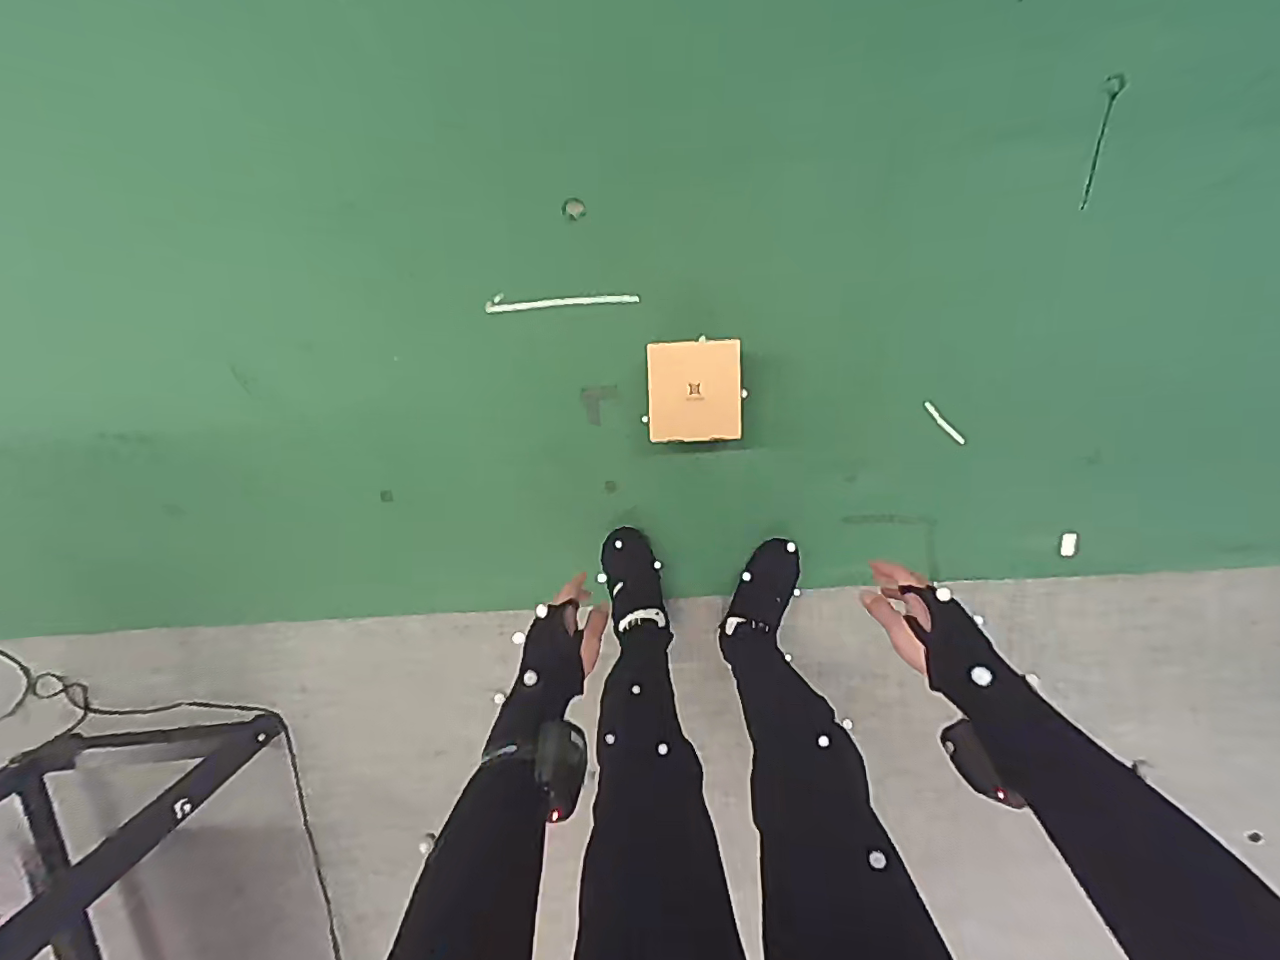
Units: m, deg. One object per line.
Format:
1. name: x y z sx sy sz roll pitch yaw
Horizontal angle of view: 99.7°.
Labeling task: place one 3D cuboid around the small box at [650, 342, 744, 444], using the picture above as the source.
1. small box: 0.104 -0.166 1.038 0.168 0.176 0.179 -3 100 3
